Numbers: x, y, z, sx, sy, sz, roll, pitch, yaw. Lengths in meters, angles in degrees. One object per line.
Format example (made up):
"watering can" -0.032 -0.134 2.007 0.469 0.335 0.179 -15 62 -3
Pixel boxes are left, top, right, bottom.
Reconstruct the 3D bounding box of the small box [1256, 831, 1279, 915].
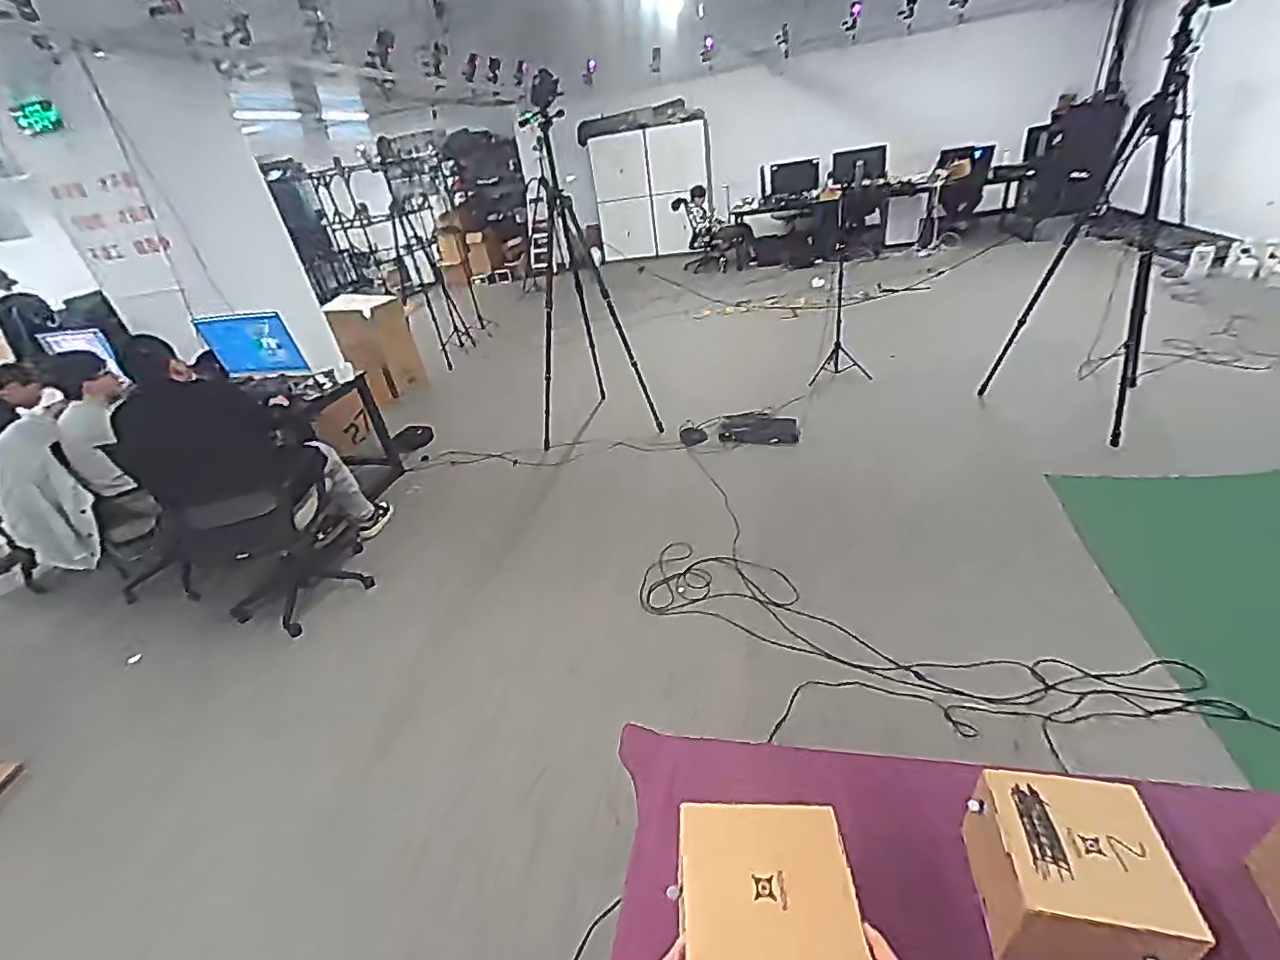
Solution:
"small box" 0.865 0.499 0.598 0.168 0.176 0.179 3 33 20

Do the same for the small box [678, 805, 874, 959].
"small box" 0.129 0.478 0.576 0.179 0.176 0.168 1 32 2
